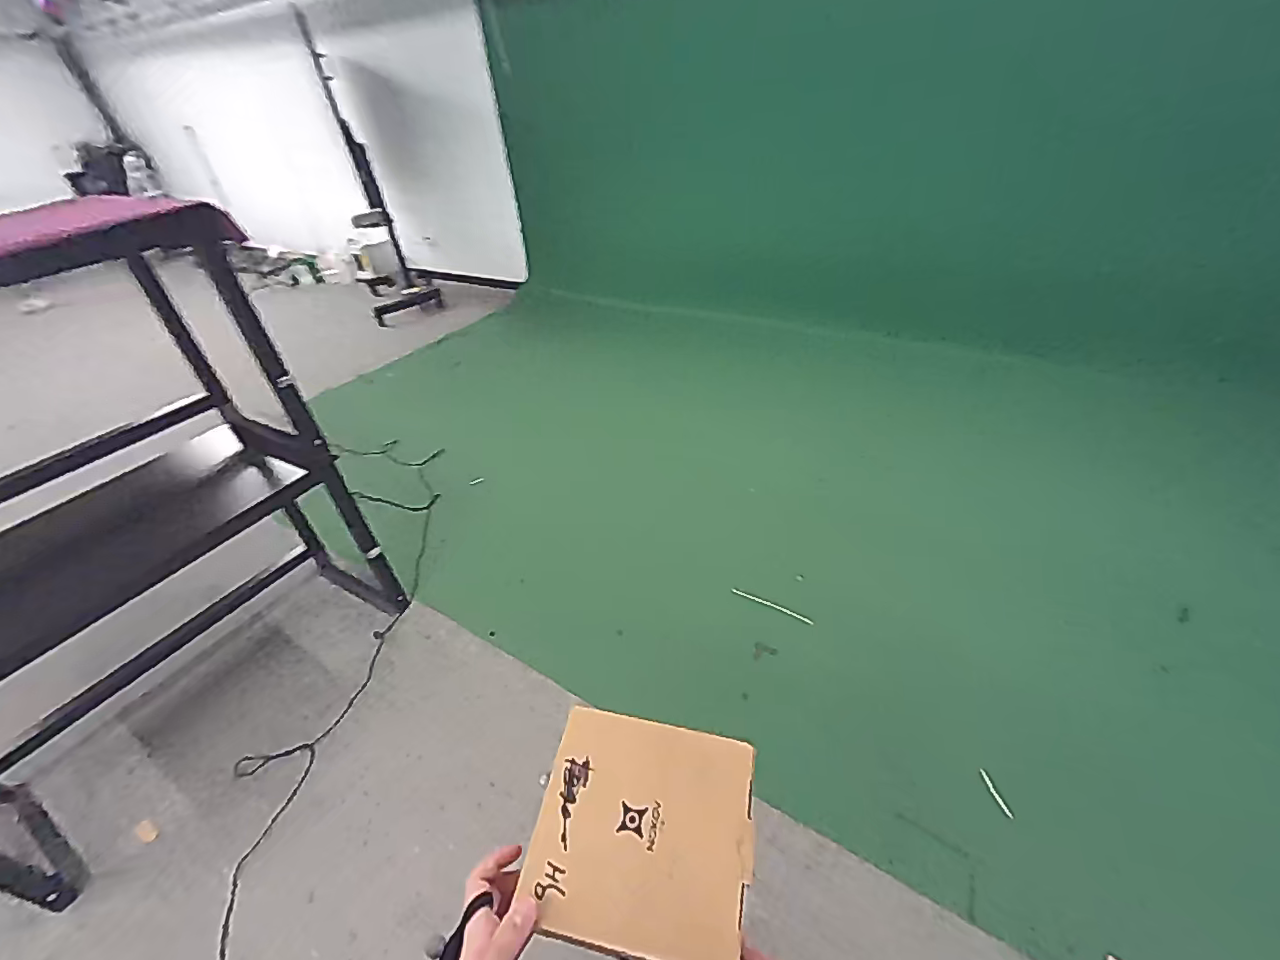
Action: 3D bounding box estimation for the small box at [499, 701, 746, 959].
[{"bbox_3d":[-0.006,0.337,0.509,0.179,0.176,0.168,9,47,10],"label":"small box"}]
